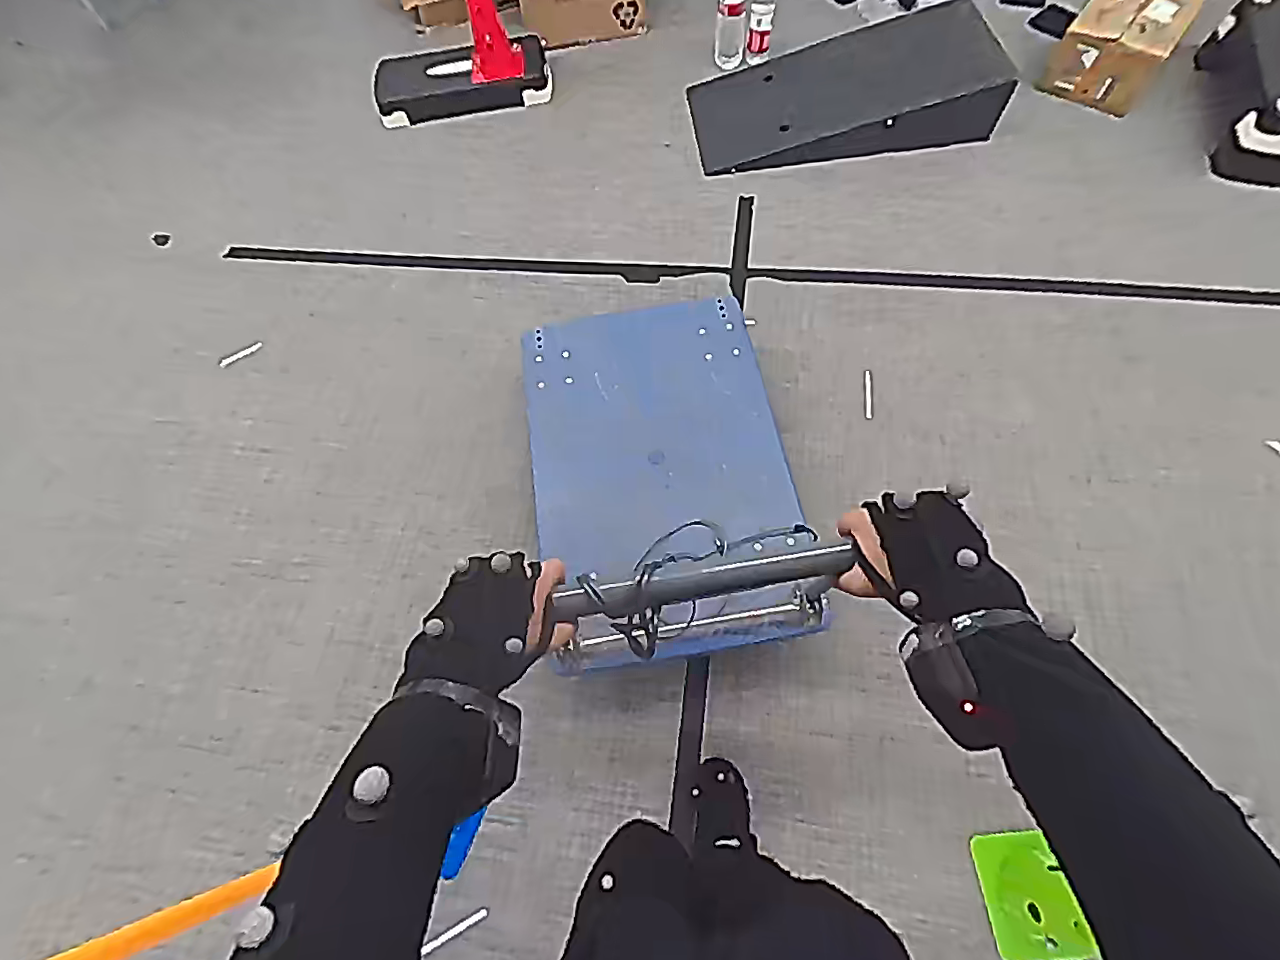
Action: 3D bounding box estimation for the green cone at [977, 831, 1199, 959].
[{"bbox_3d":[0.731,0.702,0.836,0.200,0.368,0.202,-7,67,1],"label":"green cone"}]

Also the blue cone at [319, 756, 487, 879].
[{"bbox_3d":[-0.441,0.628,0.970,0.193,0.380,0.192,20,69,12],"label":"blue cone"}]
